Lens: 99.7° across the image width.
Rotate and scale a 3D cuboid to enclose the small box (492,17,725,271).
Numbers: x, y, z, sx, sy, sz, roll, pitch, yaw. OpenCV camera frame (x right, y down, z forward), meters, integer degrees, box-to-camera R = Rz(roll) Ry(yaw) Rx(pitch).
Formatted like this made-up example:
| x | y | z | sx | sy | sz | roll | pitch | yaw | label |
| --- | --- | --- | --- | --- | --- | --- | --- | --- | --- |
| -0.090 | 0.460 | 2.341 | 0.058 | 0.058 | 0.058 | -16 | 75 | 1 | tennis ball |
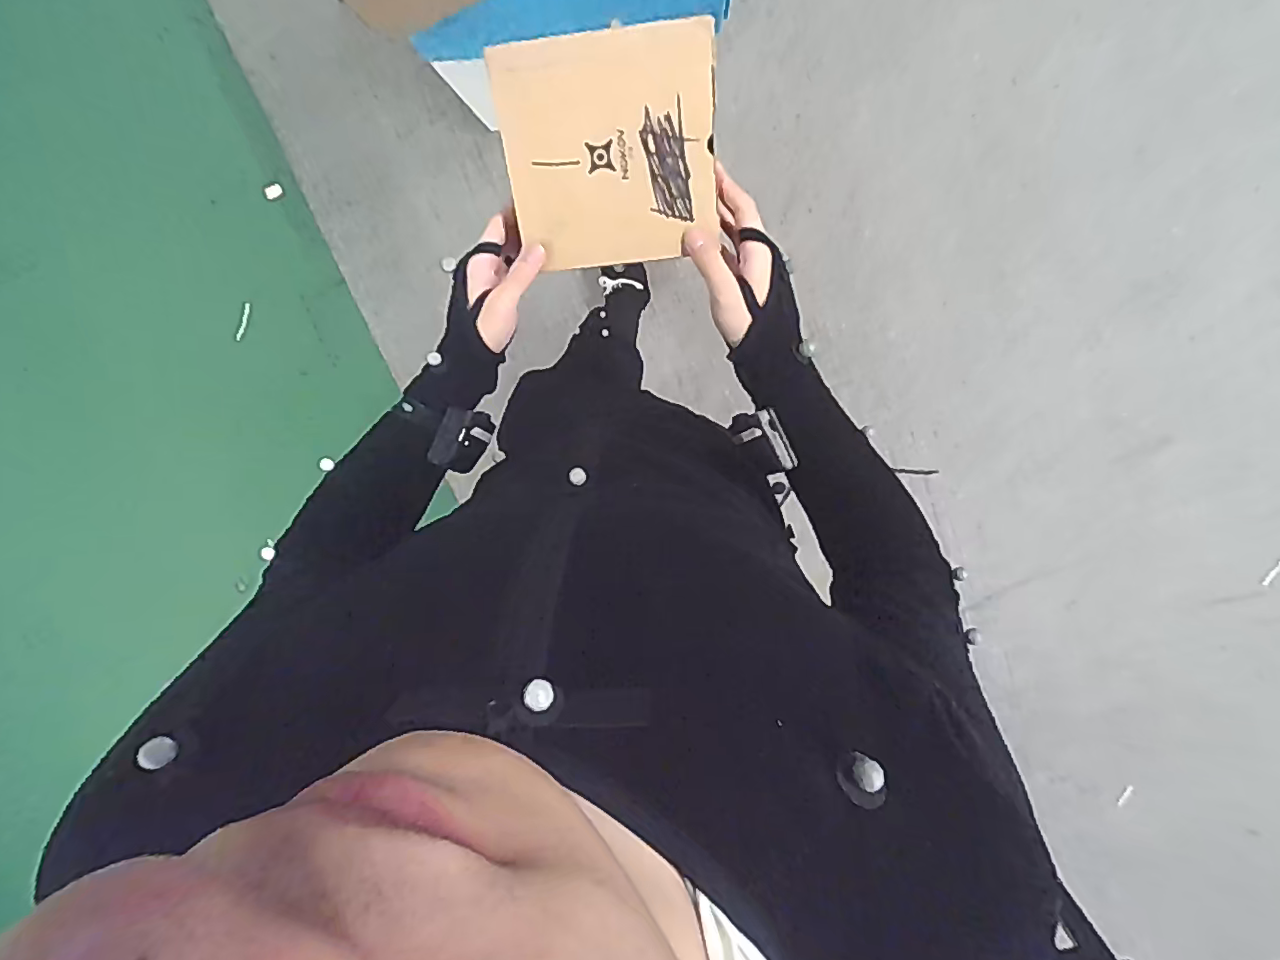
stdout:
| x | y | z | sx | sy | sz | roll | pitch | yaw | label |
| --- | --- | --- | --- | --- | --- | --- | --- | --- | --- |
| -0.018 | -0.304 | 0.512 | 0.179 | 0.176 | 0.168 | -5 | 118 | 5 | small box |
